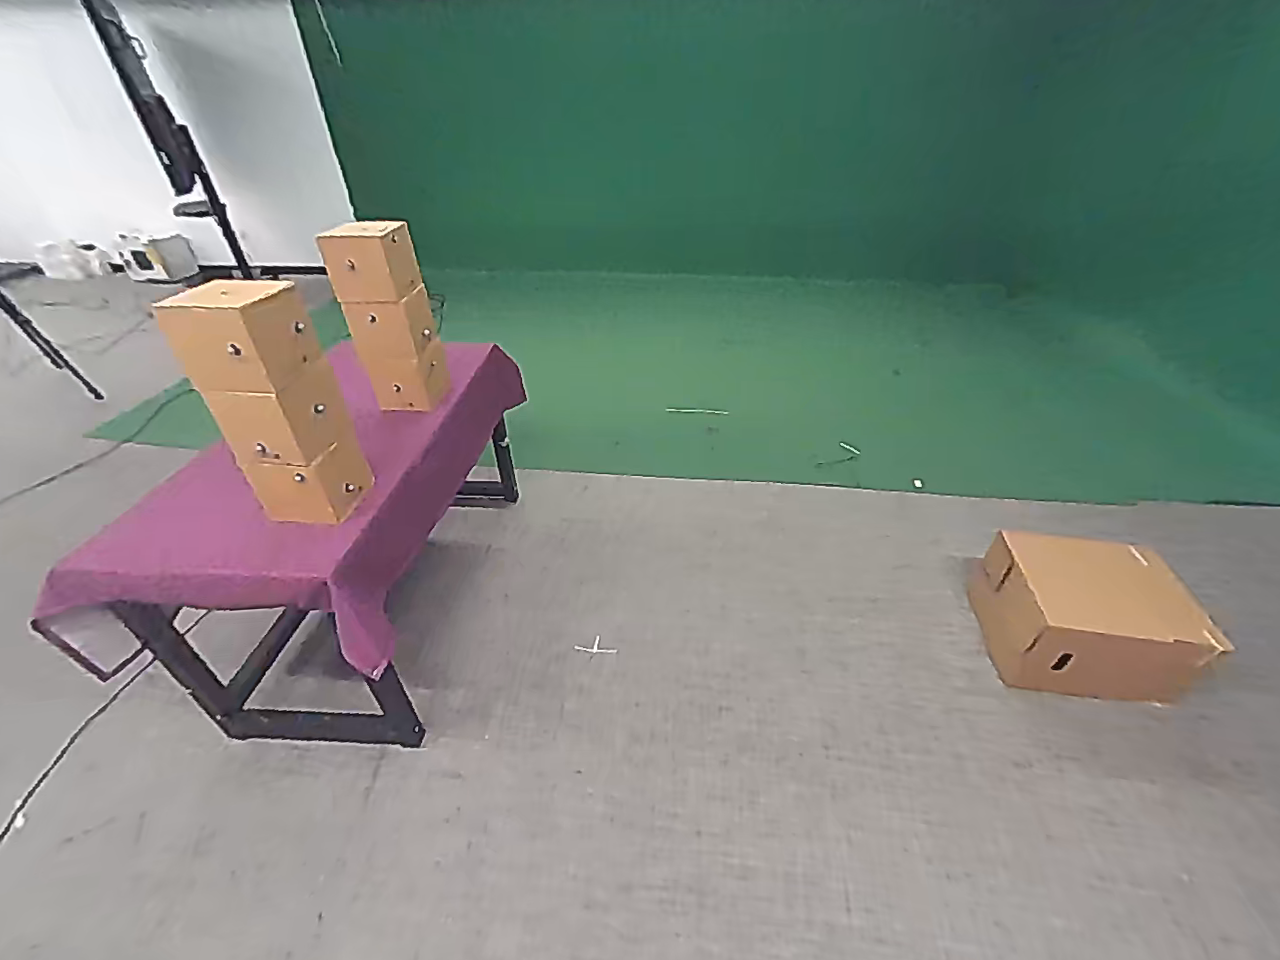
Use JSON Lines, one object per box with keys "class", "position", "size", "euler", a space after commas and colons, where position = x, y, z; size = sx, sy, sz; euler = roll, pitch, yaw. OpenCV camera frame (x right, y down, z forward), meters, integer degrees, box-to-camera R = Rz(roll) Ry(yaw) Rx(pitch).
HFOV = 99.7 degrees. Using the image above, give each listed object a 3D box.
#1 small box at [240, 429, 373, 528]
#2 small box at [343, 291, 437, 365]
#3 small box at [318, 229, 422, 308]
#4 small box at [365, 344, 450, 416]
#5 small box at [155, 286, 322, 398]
{"class": "small box", "position": [-0.762, -0.004, 1.256], "size": [0.179, 0.176, 0.168], "euler": [3, 36, 5]}
{"class": "small box", "position": [-0.721, -0.443, 1.579], "size": [0.179, 0.176, 0.168], "euler": [1, 37, 3]}
{"class": "small box", "position": [-0.732, -0.579, 1.486], "size": [0.179, 0.176, 0.168], "euler": [0, 37, 5]}
{"class": "small box", "position": [-0.709, -0.310, 1.676], "size": [0.168, 0.176, 0.179], "euler": [3, 36, 5]}
{"class": "small box", "position": [-0.773, -0.272, 1.068], "size": [0.179, 0.176, 0.168], "euler": [3, 35, 6]}
